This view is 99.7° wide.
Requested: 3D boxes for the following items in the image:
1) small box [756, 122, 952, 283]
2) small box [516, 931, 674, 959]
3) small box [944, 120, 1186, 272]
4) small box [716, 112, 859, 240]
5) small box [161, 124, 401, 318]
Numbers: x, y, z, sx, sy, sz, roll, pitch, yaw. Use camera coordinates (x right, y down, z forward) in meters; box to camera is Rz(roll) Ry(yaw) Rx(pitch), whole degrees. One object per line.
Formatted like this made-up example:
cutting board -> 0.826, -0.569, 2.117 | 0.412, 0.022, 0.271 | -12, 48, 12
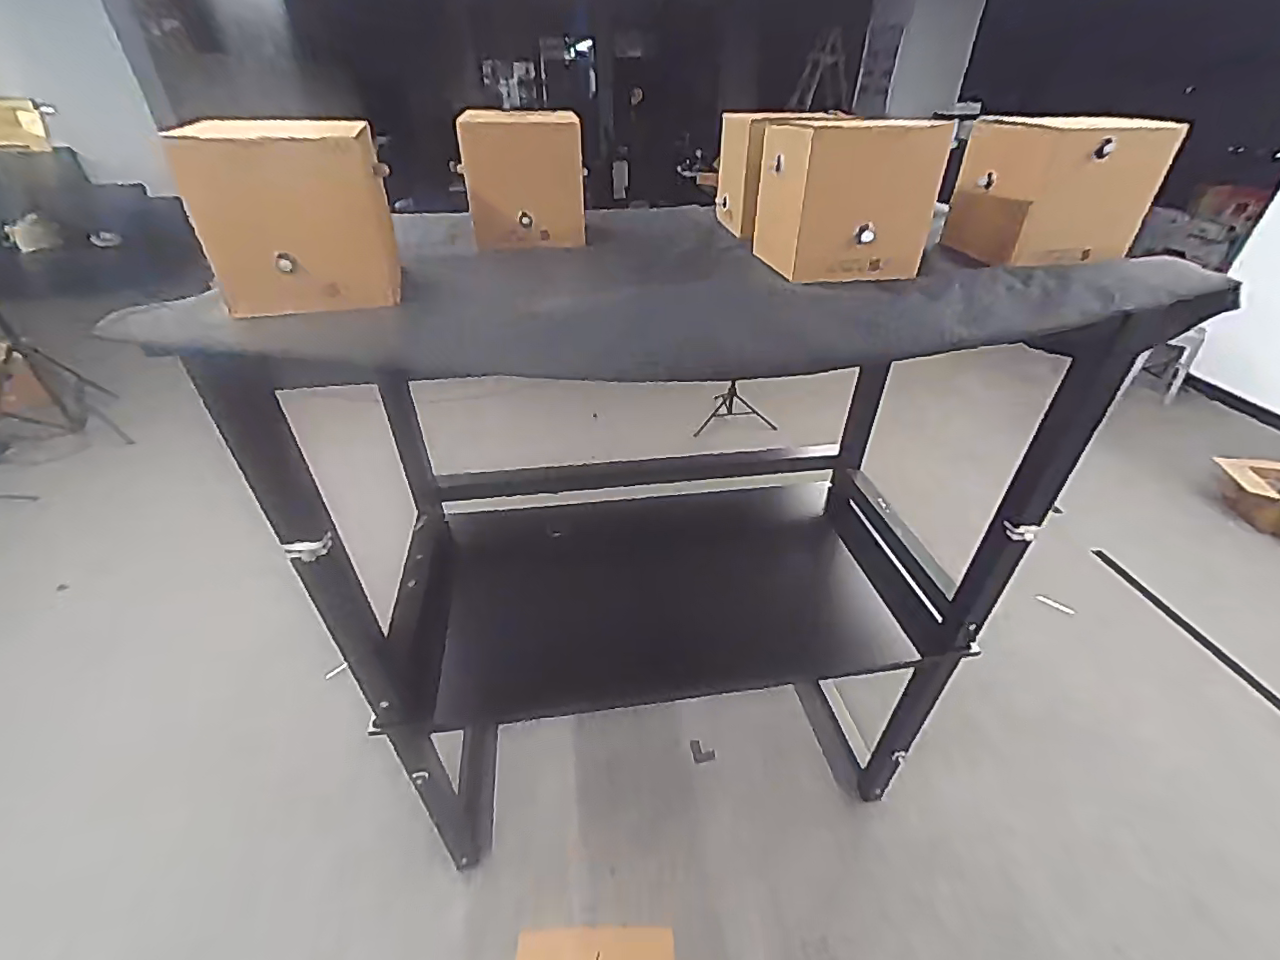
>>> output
small box -> 0.257, -0.364, 0.704 | 0.168, 0.176, 0.179 | -4, 35, -5
small box -> -0.047, 0.591, 0.534 | 0.168, 0.176, 0.179 | 1, 26, -1
small box -> 0.561, -0.397, 0.750 | 0.168, 0.176, 0.179 | -4, 36, -3
small box -> 0.234, -0.510, 0.907 | 0.179, 0.176, 0.168 | -4, 36, -5
small box -> -0.378, -0.295, 0.612 | 0.168, 0.176, 0.179 | -10, 39, -15
